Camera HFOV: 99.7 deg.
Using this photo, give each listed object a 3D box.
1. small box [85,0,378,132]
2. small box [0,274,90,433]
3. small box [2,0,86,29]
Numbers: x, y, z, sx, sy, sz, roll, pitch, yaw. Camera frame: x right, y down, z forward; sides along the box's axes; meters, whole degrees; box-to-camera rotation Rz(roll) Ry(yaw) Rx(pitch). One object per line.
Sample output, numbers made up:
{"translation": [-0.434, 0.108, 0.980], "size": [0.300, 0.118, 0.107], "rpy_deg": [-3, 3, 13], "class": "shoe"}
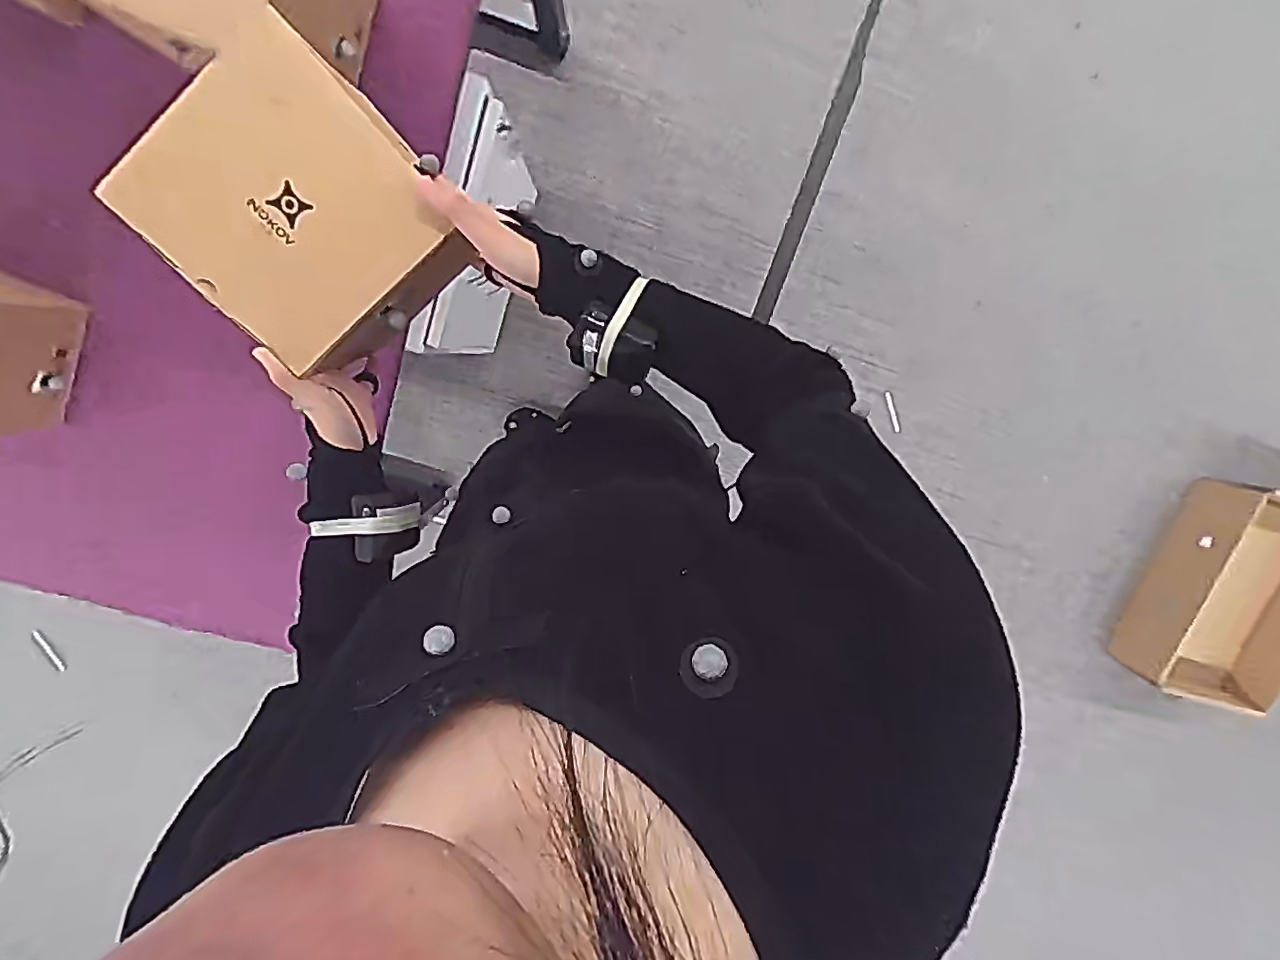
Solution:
{"translation": [-0.398, -0.487, 0.537], "size": [0.179, 0.176, 0.168], "rpy_deg": [20, 102, -7], "class": "small box"}
{"translation": [-0.788, -0.150, 0.597], "size": [0.179, 0.176, 0.168], "rpy_deg": [22, 102, -10], "class": "small box"}
{"translation": [-0.662, -0.587, 0.500], "size": [0.168, 0.176, 0.179], "rpy_deg": [20, 102, -8], "class": "small box"}
